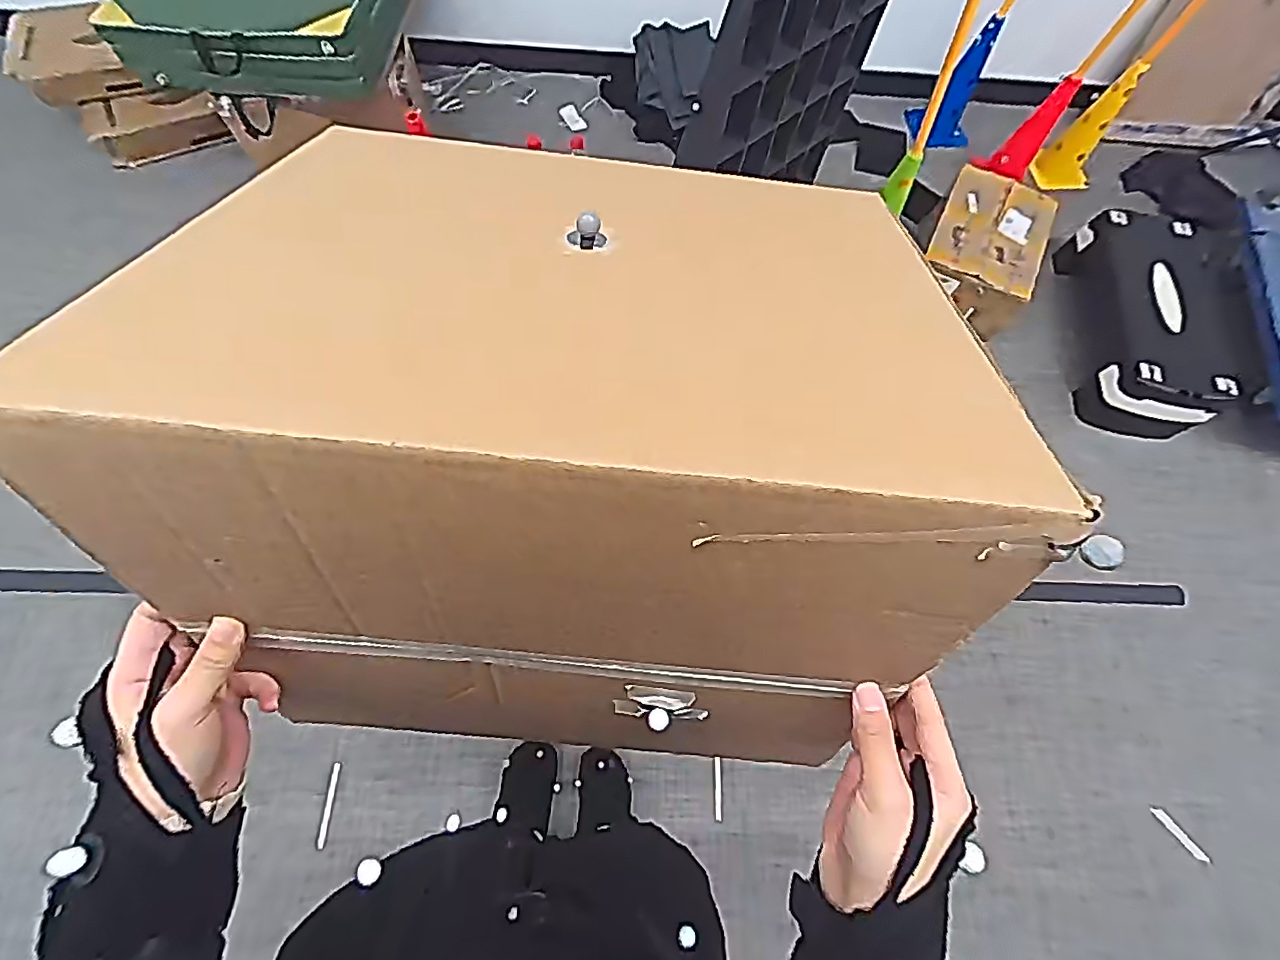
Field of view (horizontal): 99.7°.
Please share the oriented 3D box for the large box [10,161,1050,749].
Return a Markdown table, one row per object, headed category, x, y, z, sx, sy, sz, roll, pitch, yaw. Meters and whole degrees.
| category | x | y | z | sx | sy | sz | roll | pitch | yaw |
| --- | --- | --- | --- | --- | --- | --- | --- | --- | --- |
| large box | -0.044 | -0.014 | 0.412 | 0.408 | 0.320 | 0.320 | 5 | 49 | -2 |
